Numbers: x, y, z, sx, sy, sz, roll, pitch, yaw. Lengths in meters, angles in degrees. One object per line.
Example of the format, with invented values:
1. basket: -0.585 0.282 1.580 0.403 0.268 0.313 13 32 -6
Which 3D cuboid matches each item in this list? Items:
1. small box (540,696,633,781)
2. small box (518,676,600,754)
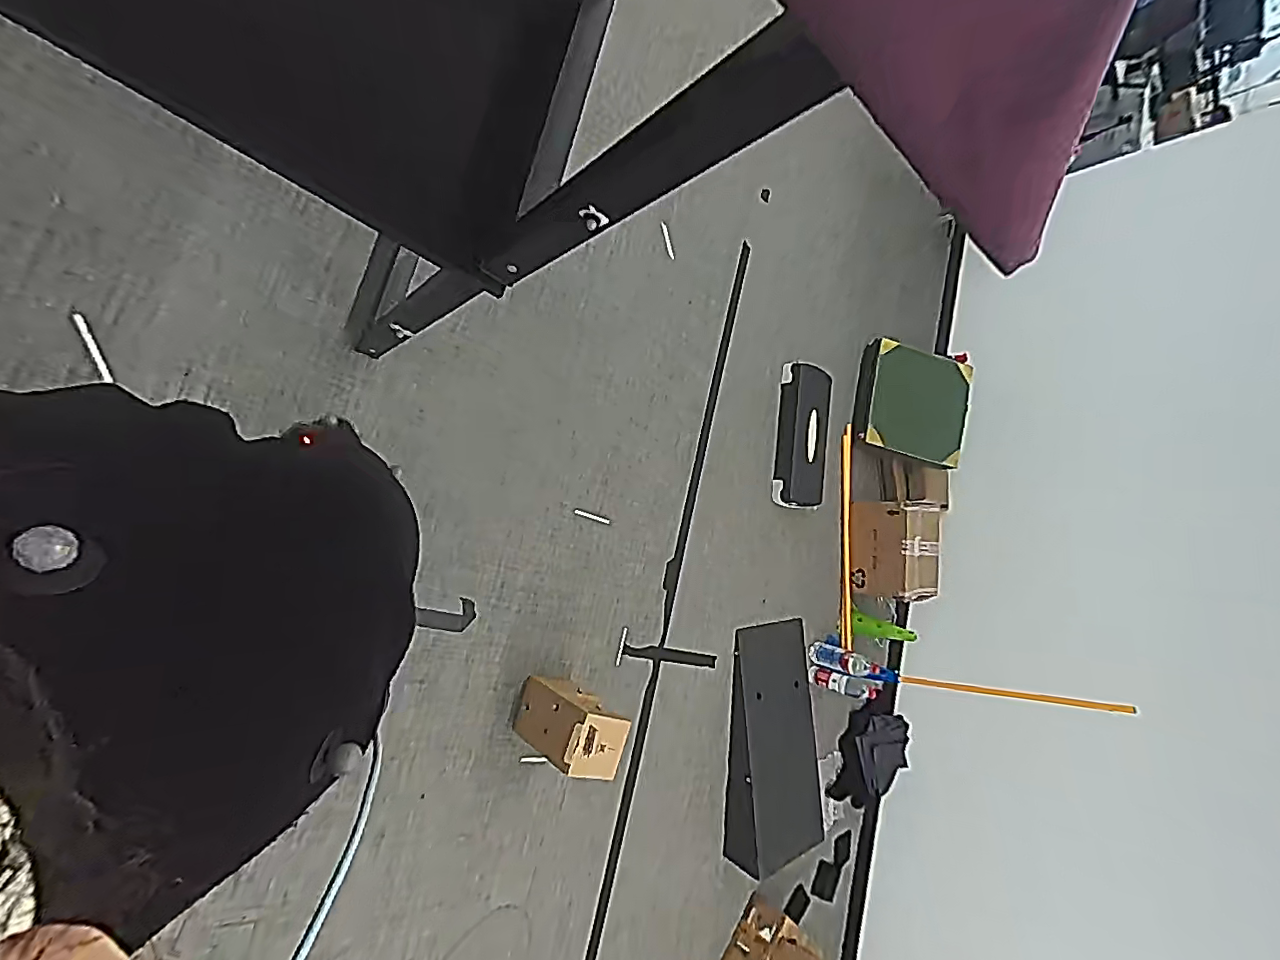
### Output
1. small box: -0.156 0.736 1.549 0.179 0.176 0.168 30 73 -37
2. small box: -0.257 0.730 1.680 0.168 0.176 0.179 24 77 -38
